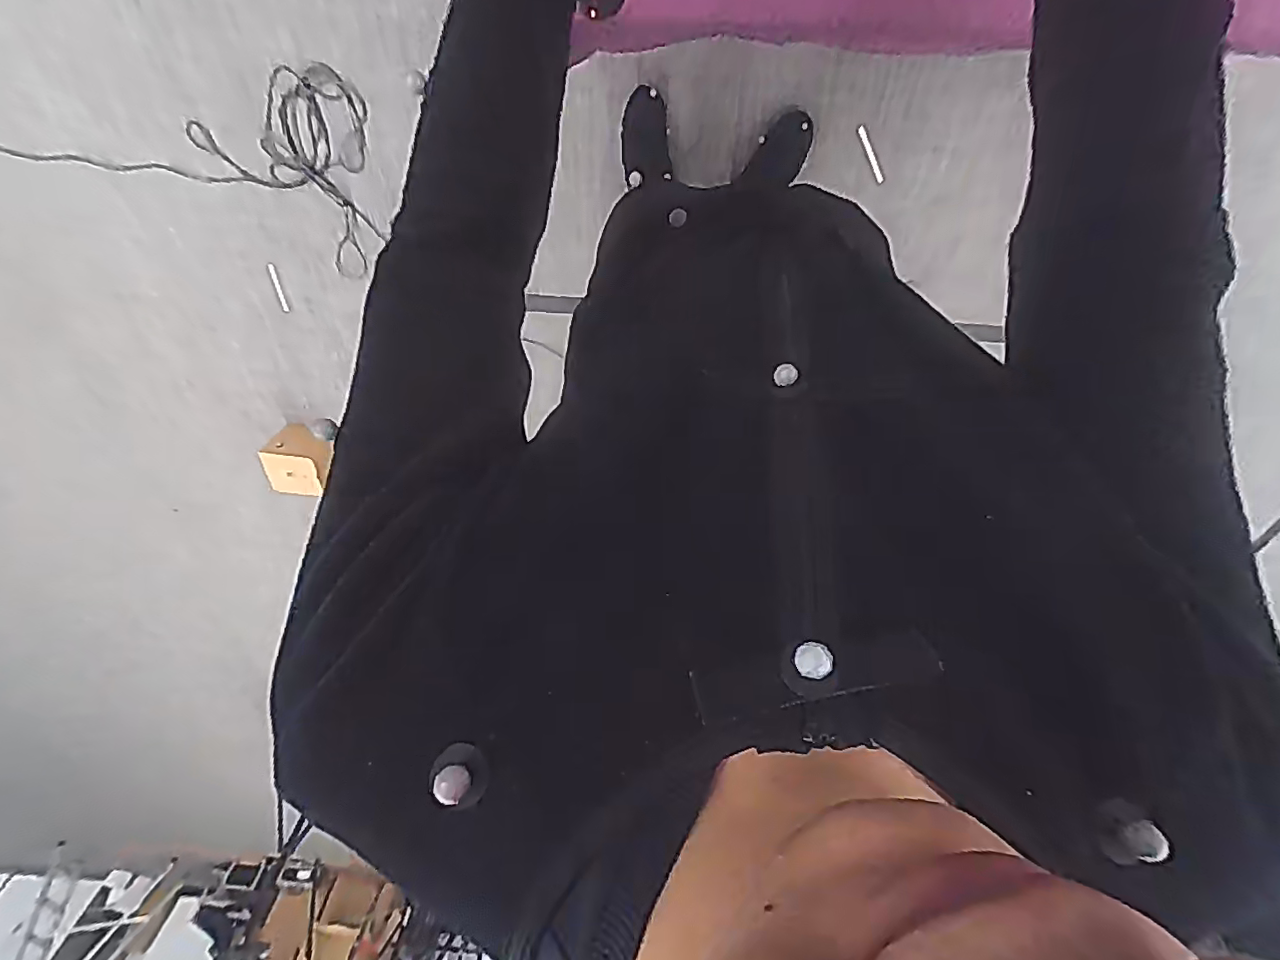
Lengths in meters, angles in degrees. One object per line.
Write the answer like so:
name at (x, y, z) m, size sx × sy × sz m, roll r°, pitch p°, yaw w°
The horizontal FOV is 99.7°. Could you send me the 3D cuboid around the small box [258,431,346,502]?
small box at (-1.138, -0.049, 1.835) m, size 0.179 × 0.176 × 0.168 m, roll 6°, pitch 129°, yaw -2°
